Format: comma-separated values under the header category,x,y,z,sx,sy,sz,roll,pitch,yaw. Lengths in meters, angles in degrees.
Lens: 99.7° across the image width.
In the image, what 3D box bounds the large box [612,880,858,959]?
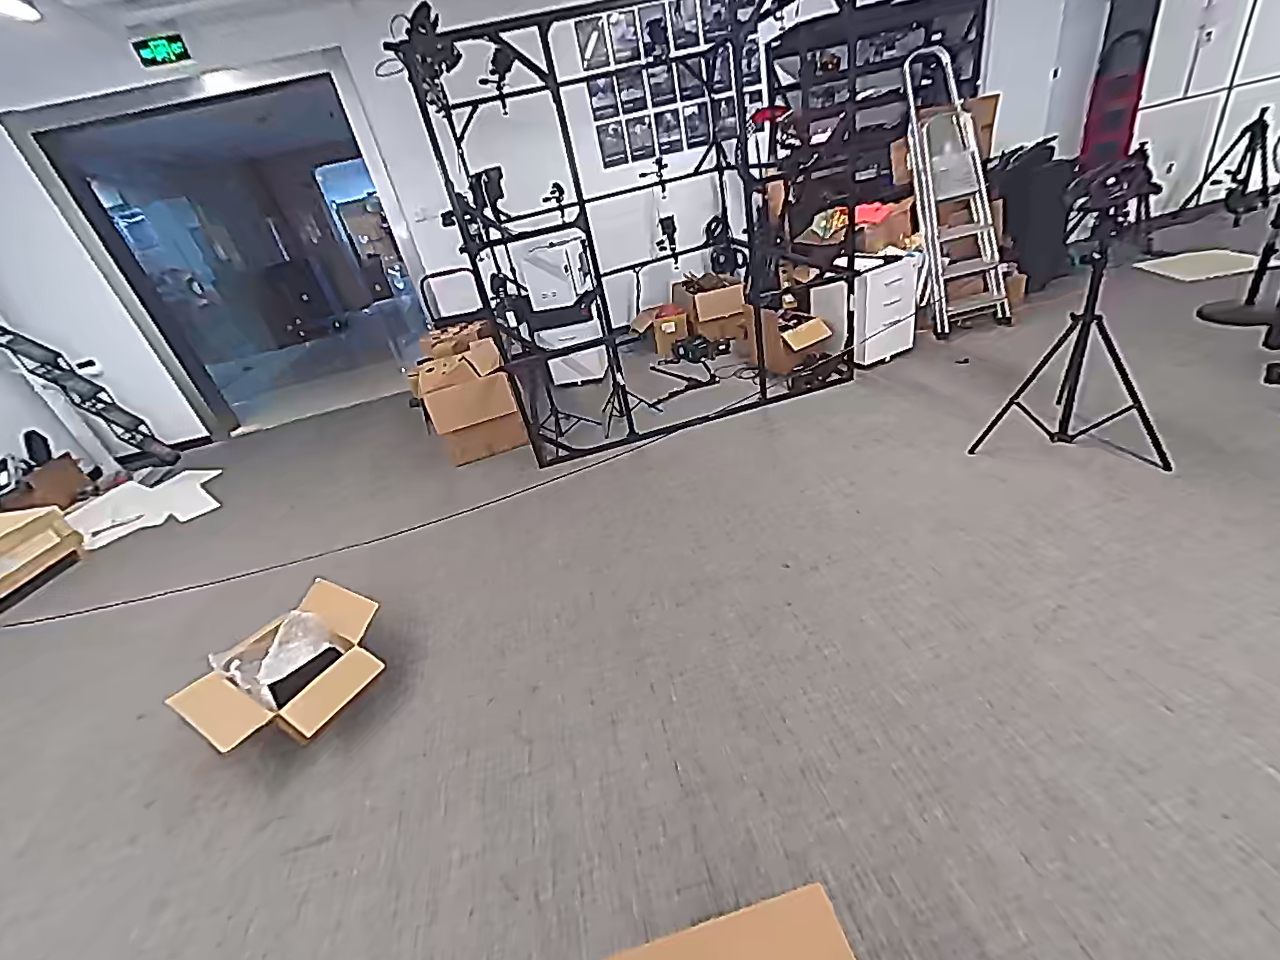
category,x,y,z,sx,sy,sz,roll,pitch,yaw
large box,0.192,0.956,0.877,0.408,0.320,0.320,-16,31,-5
